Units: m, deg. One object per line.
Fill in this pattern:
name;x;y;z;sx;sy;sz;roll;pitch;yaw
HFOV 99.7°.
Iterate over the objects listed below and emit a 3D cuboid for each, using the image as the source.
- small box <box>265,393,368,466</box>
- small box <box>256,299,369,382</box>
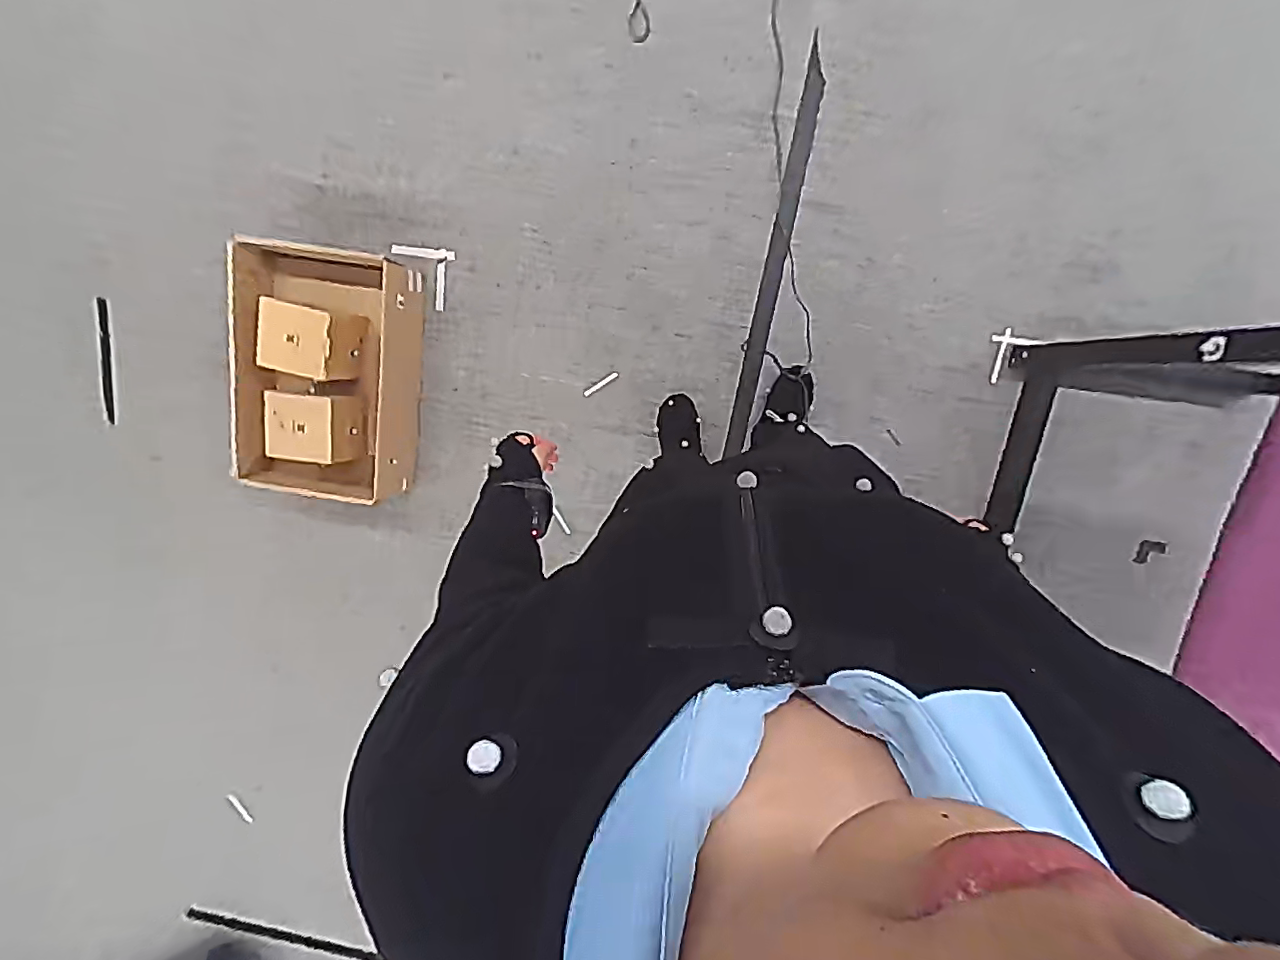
small box;-0.843;-0.138;1.422;0.179;0.176;0.168;7;100;3
small box;-0.831;-0.351;1.380;0.179;0.176;0.168;14;103;1
